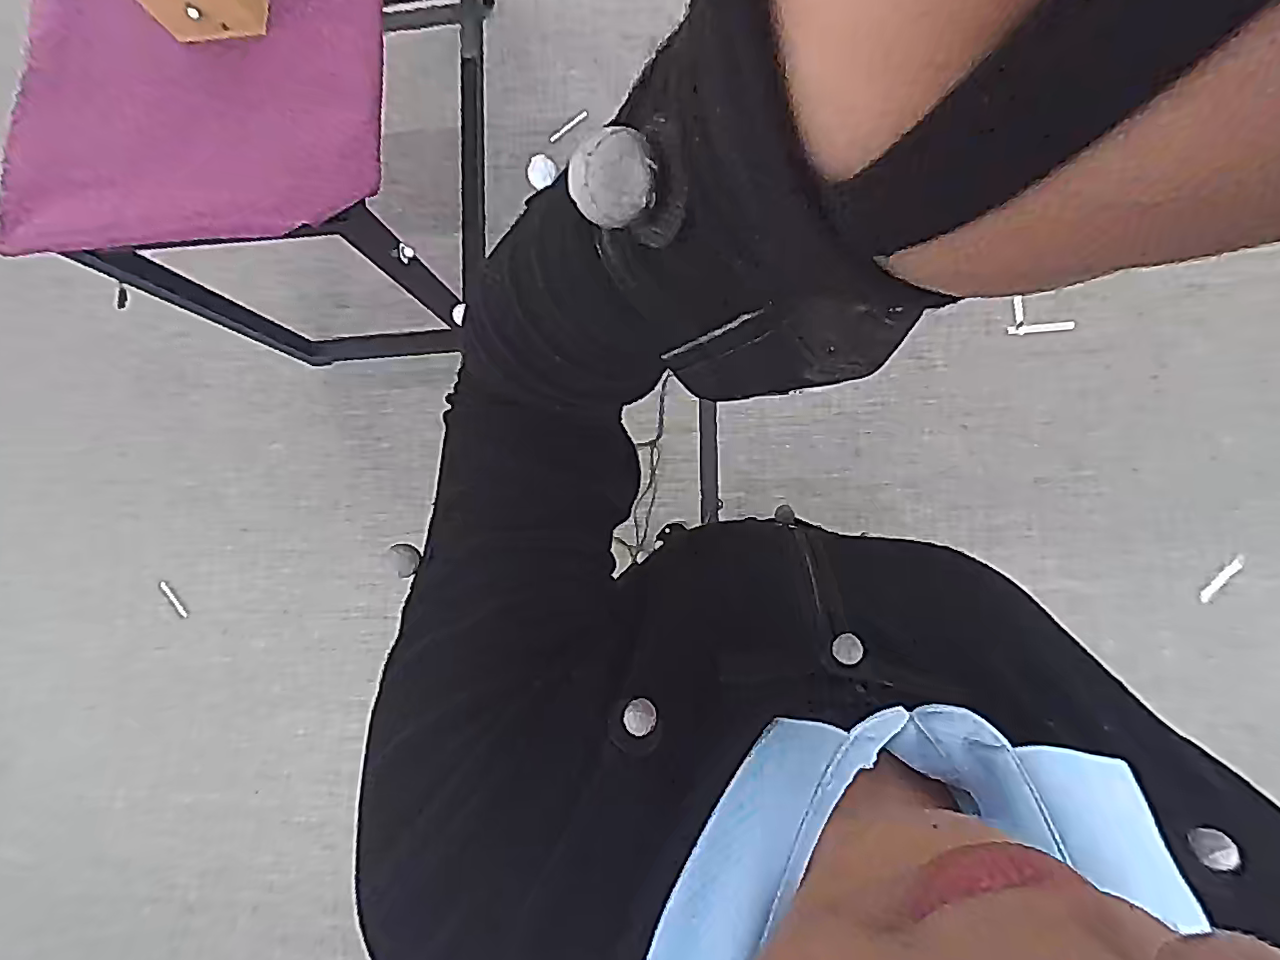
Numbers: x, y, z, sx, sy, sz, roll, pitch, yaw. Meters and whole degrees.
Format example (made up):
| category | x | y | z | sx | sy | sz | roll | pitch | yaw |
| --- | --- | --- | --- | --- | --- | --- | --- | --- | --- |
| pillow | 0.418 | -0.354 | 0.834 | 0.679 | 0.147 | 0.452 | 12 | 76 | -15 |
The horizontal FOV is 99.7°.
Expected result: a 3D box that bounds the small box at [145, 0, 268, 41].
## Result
| category | x | y | z | sx | sy | sz | roll | pitch | yaw |
| --- | --- | --- | --- | --- | --- | --- | --- | --- | --- |
| small box | -0.724 | -0.855 | 0.859 | 0.168 | 0.176 | 0.179 | -1 | 85 | 5 |
